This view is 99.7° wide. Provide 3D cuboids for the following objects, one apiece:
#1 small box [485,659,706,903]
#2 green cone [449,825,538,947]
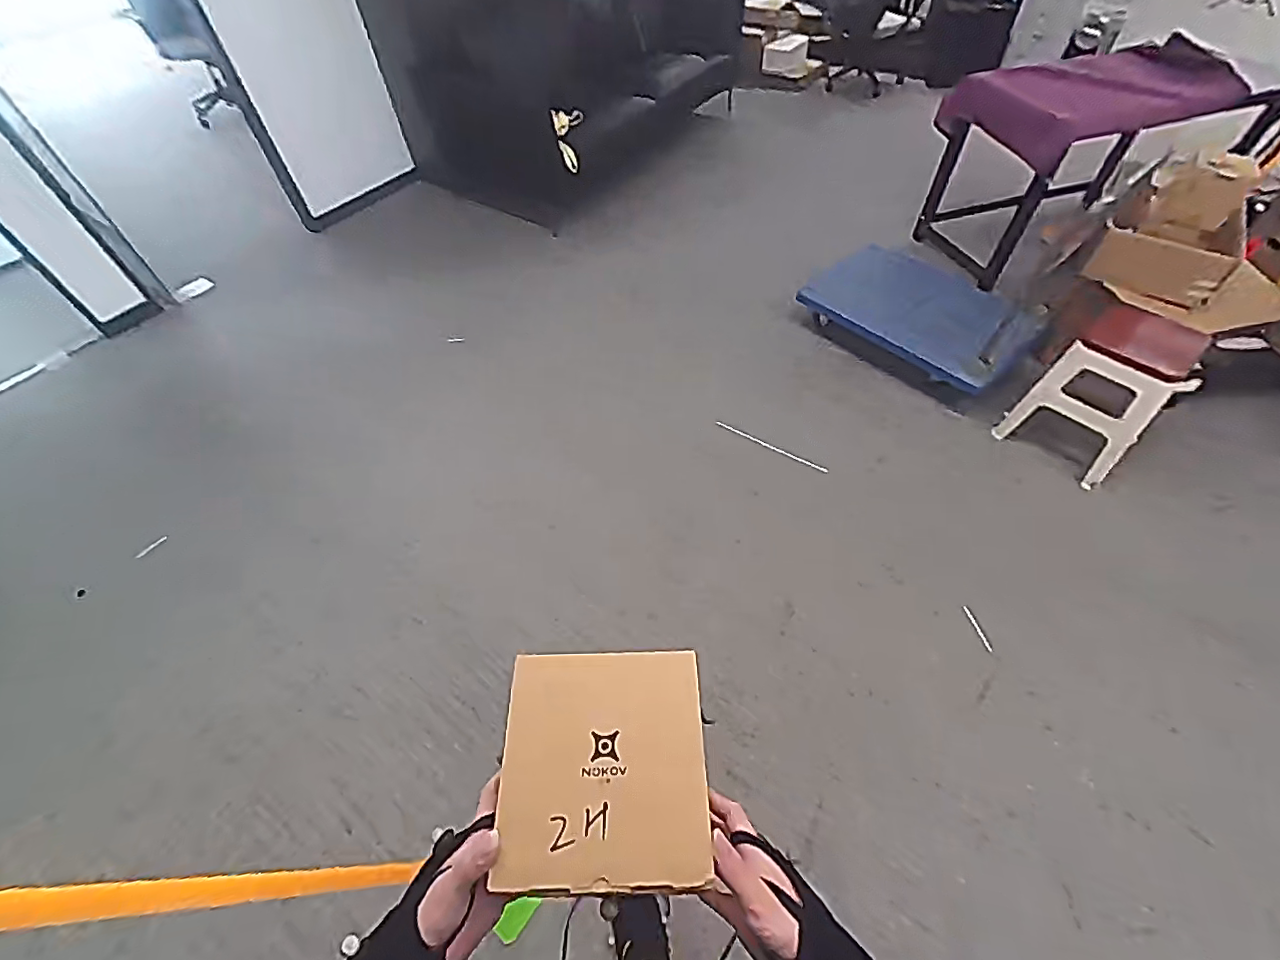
[{"bbox_3d":[-0.032,0.284,0.508,0.168,0.176,0.179,-1,52,1],"label":"small box"},{"bbox_3d":[-0.334,0.857,1.165,0.202,0.368,0.200,31,60,22],"label":"green cone"}]
